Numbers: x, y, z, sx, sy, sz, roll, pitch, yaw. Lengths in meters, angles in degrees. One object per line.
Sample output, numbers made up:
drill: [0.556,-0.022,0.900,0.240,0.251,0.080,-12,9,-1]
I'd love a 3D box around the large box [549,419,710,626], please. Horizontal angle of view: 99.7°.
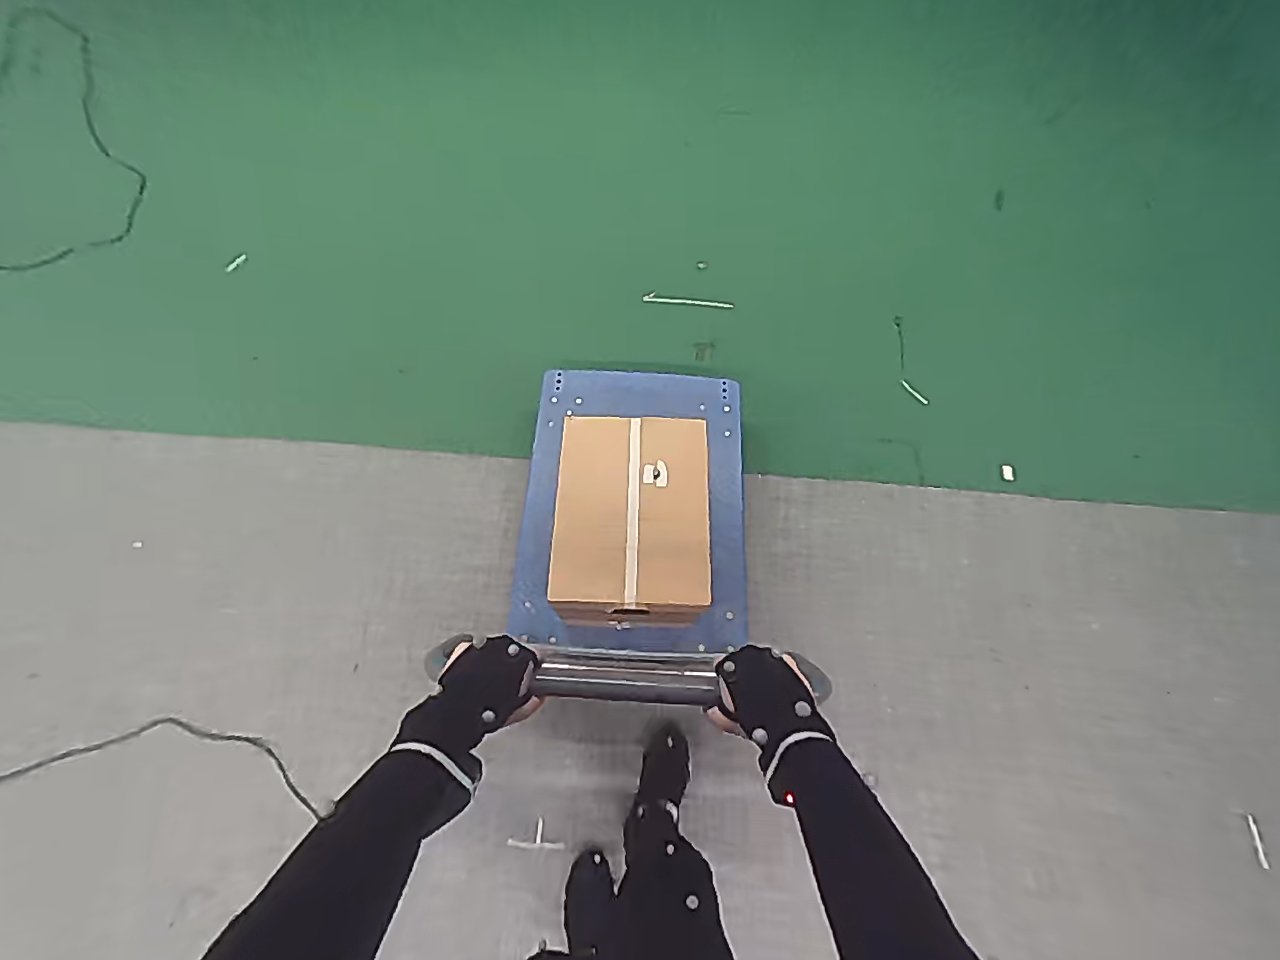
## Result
large box: [-0.020,0.112,1.244,0.320,0.320,0.408,1,67,-1]
